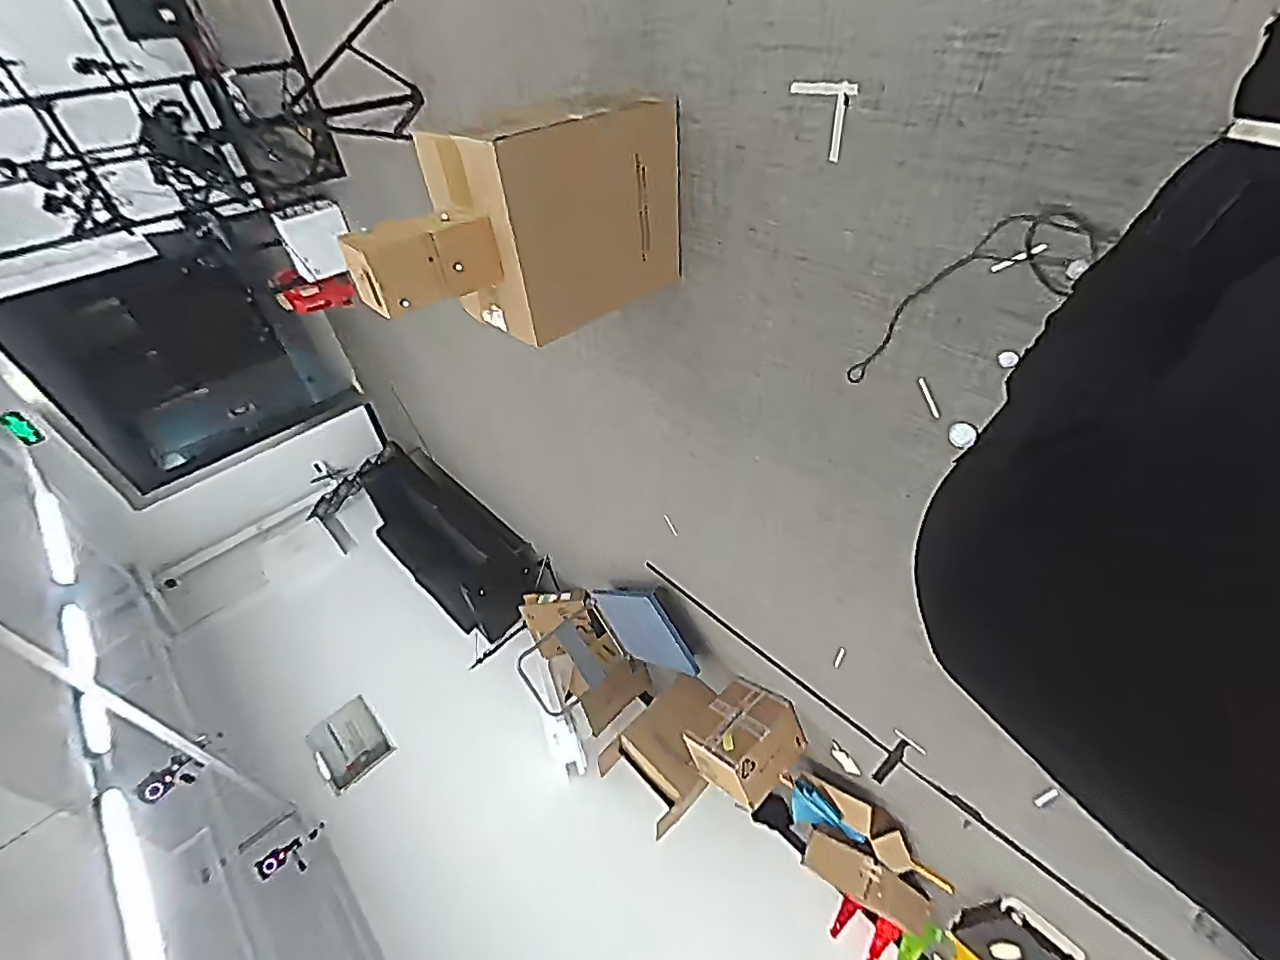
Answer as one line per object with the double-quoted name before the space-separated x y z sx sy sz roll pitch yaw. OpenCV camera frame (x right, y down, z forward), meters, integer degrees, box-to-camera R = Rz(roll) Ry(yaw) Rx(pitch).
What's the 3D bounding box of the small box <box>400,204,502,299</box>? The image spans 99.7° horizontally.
"small box" -0.497 -0.614 1.439 0.168 0.176 0.179 32 145 34
